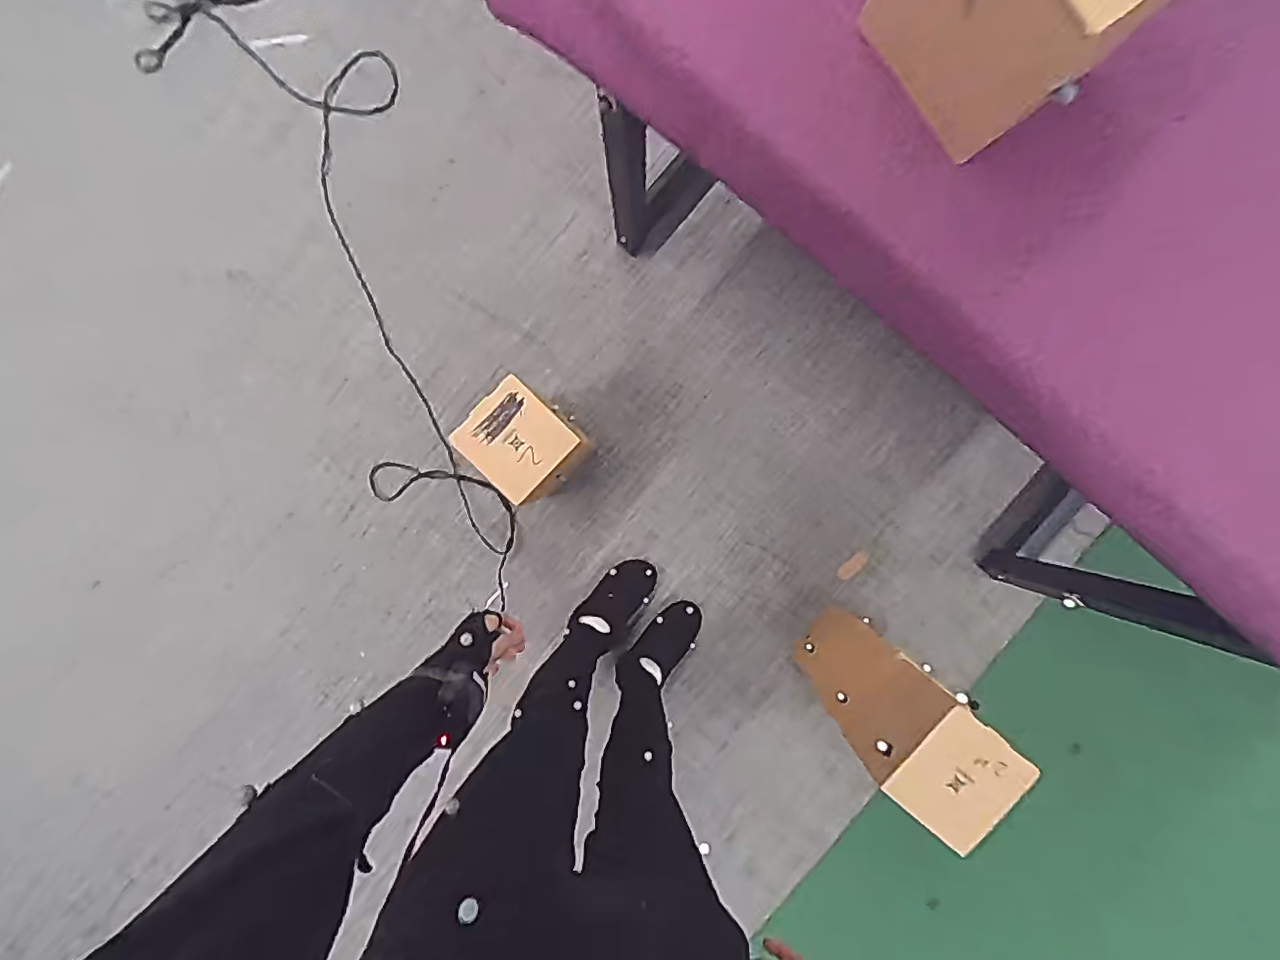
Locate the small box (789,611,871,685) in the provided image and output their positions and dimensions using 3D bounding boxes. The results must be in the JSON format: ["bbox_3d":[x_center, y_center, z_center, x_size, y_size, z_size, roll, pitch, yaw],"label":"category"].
[{"bbox_3d":[0.461,0.411,1.198,0.179,0.176,0.168,42,91,-1],"label":"small box"}]

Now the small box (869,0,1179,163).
[{"bbox_3d":[0.332,-0.422,0.458,0.168,0.176,0.179,-36,91,1],"label":"small box"}]

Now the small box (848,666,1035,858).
[{"bbox_3d":[0.465,0.440,0.872,0.168,0.176,0.179,40,92,-1],"label":"small box"}]

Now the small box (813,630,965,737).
[{"bbox_3d":[0.462,0.419,1.036,0.168,0.176,0.179,40,93,-1],"label":"small box"}]

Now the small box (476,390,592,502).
[{"bbox_3d":[-0.223,-0.072,1.193,0.168,0.176,0.179,45,92,-1],"label":"small box"}]
